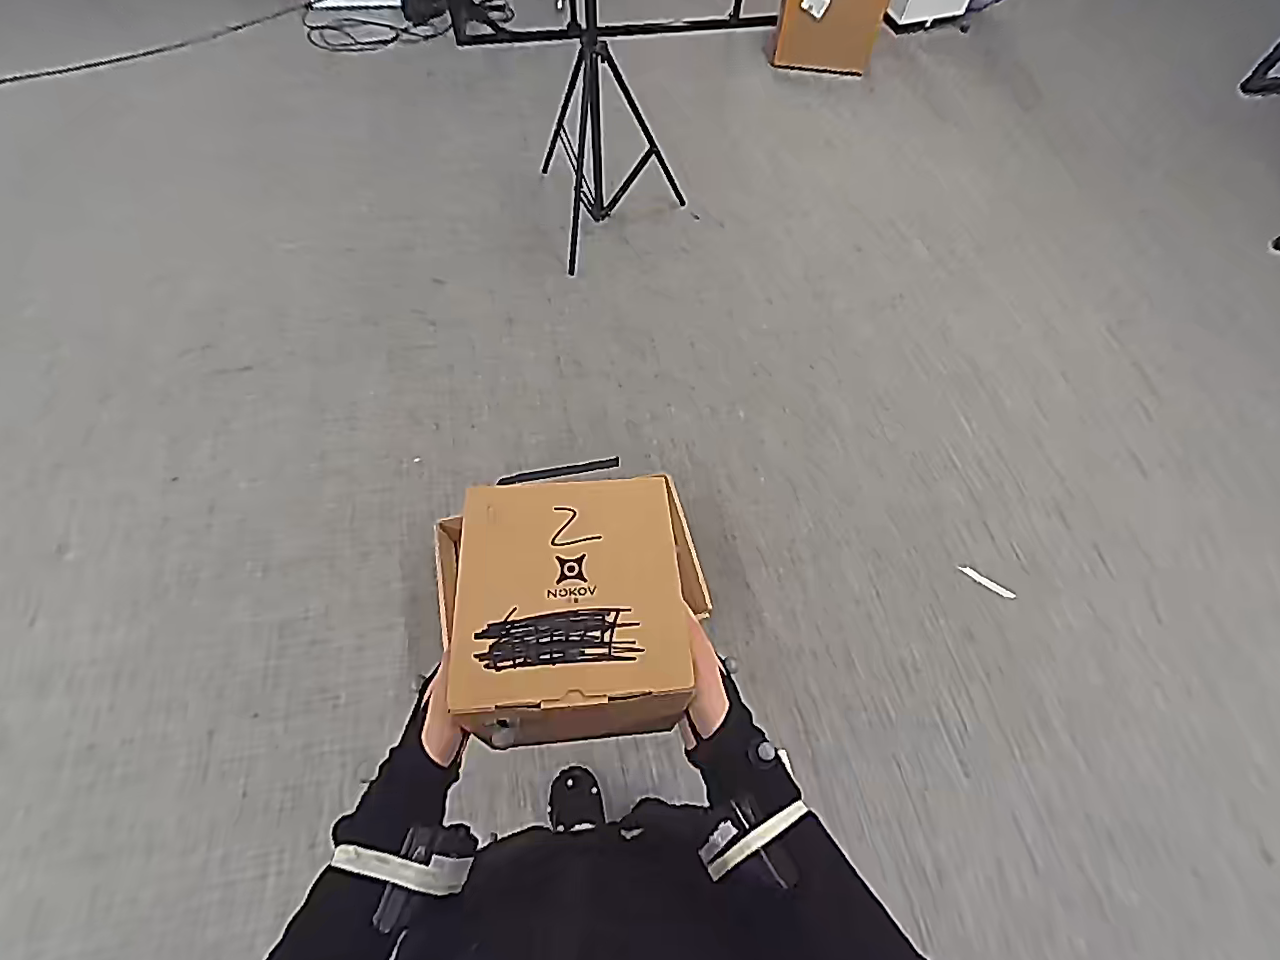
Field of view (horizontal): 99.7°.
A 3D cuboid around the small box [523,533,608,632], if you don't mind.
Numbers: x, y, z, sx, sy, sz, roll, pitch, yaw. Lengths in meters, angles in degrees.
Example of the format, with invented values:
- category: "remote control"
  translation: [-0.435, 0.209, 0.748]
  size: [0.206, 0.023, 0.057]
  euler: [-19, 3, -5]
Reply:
- category: "small box"
  translation: [-0.183, 0.259, 1.351]
  size: [0.168, 0.176, 0.179]
  euler: [-17, 66, -9]
